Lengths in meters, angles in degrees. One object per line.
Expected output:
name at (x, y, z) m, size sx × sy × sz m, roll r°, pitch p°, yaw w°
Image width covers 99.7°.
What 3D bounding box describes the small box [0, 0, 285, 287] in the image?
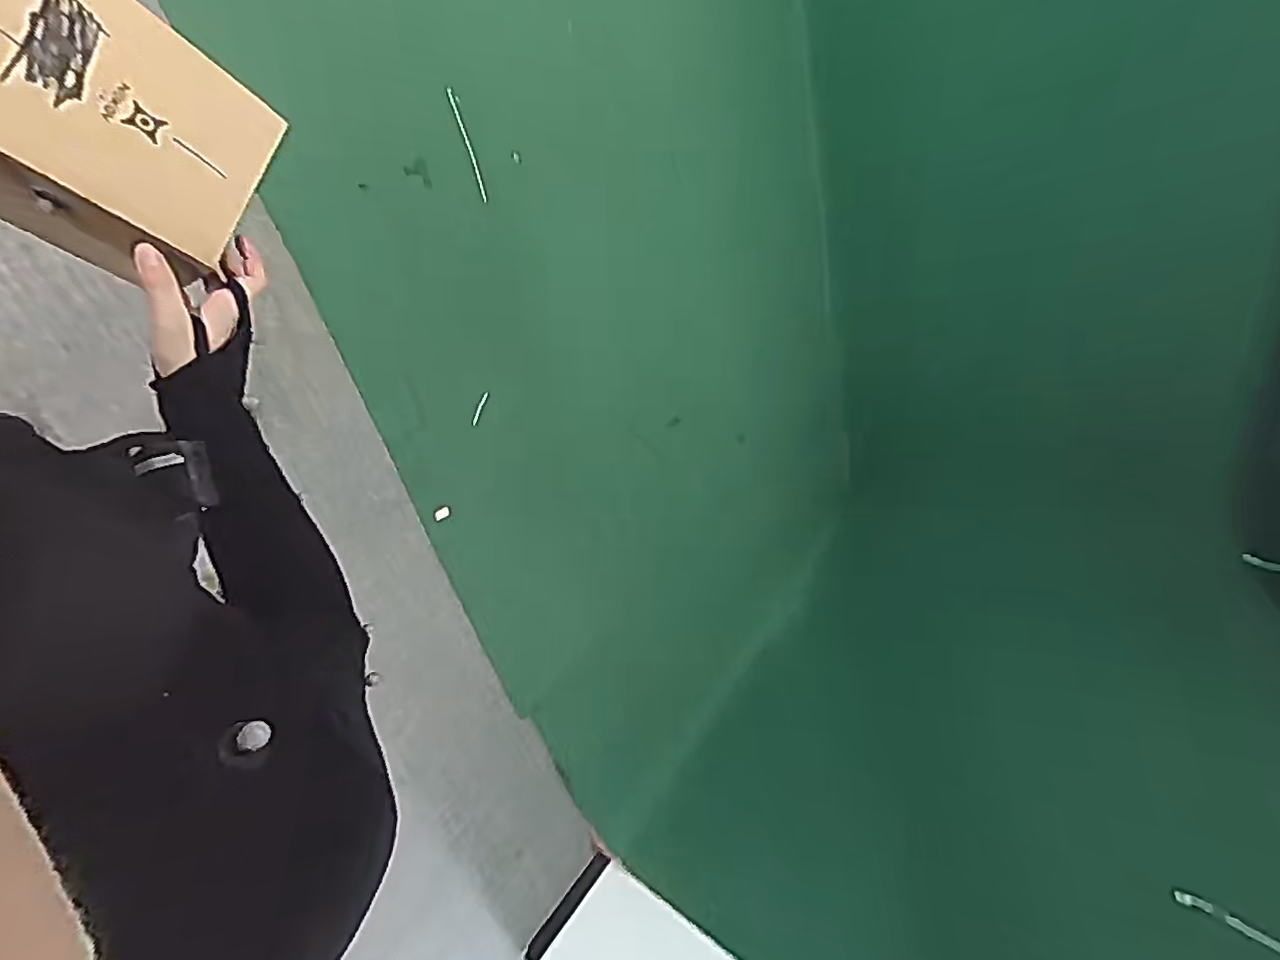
small box at (-0.461, -0.291, 0.467) m, size 0.179 × 0.176 × 0.168 m, roll 31°, pitch 68°, yaw -50°
